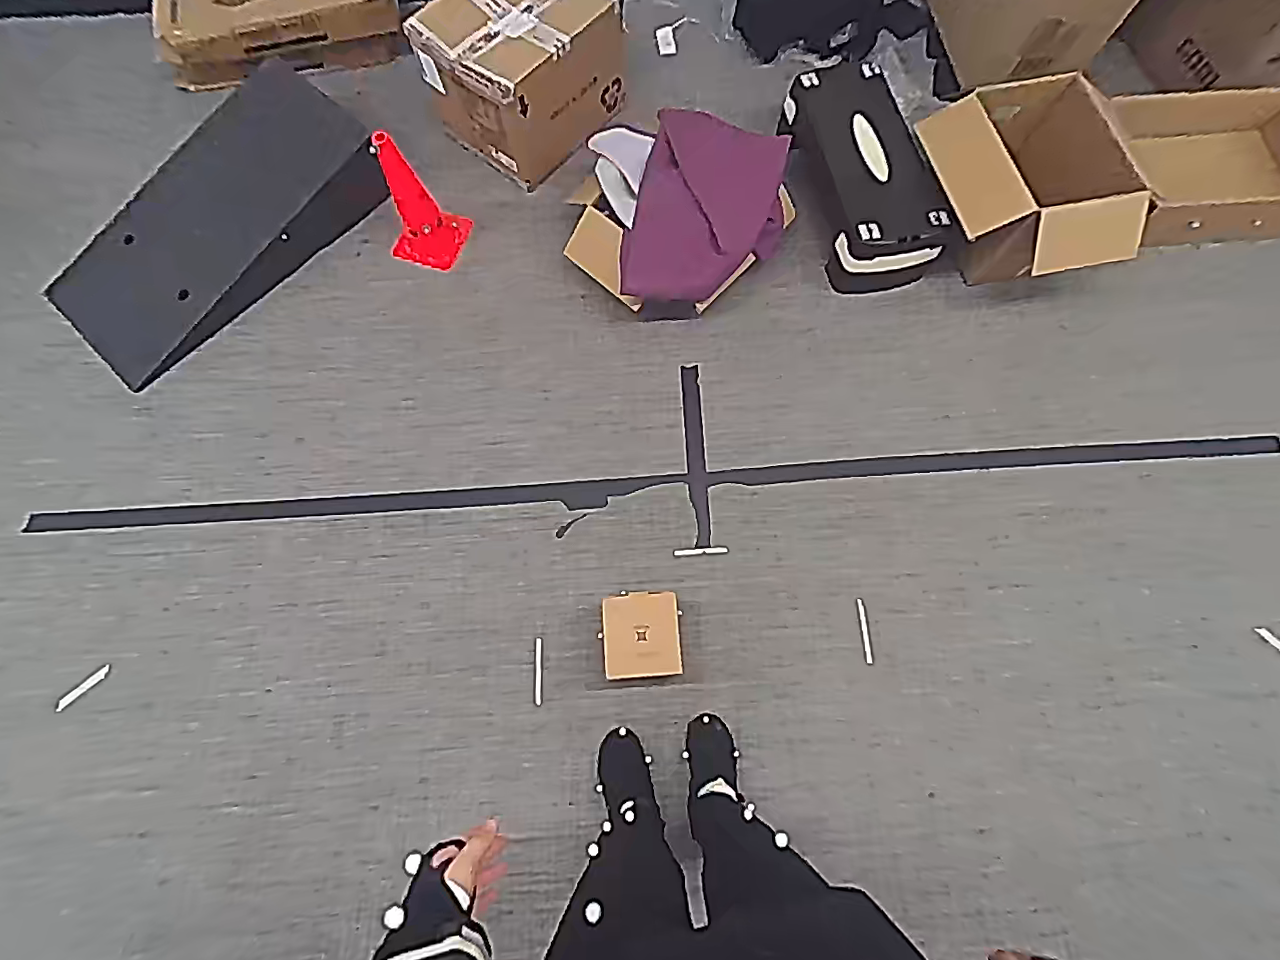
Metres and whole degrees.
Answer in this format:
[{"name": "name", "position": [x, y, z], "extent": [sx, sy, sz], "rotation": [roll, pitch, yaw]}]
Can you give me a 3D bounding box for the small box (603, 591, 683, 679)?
[{"name": "small box", "position": [0.005, 0.357, 1.244], "extent": [0.168, 0.176, 0.179], "rotation": [-5, 74, 0]}]
